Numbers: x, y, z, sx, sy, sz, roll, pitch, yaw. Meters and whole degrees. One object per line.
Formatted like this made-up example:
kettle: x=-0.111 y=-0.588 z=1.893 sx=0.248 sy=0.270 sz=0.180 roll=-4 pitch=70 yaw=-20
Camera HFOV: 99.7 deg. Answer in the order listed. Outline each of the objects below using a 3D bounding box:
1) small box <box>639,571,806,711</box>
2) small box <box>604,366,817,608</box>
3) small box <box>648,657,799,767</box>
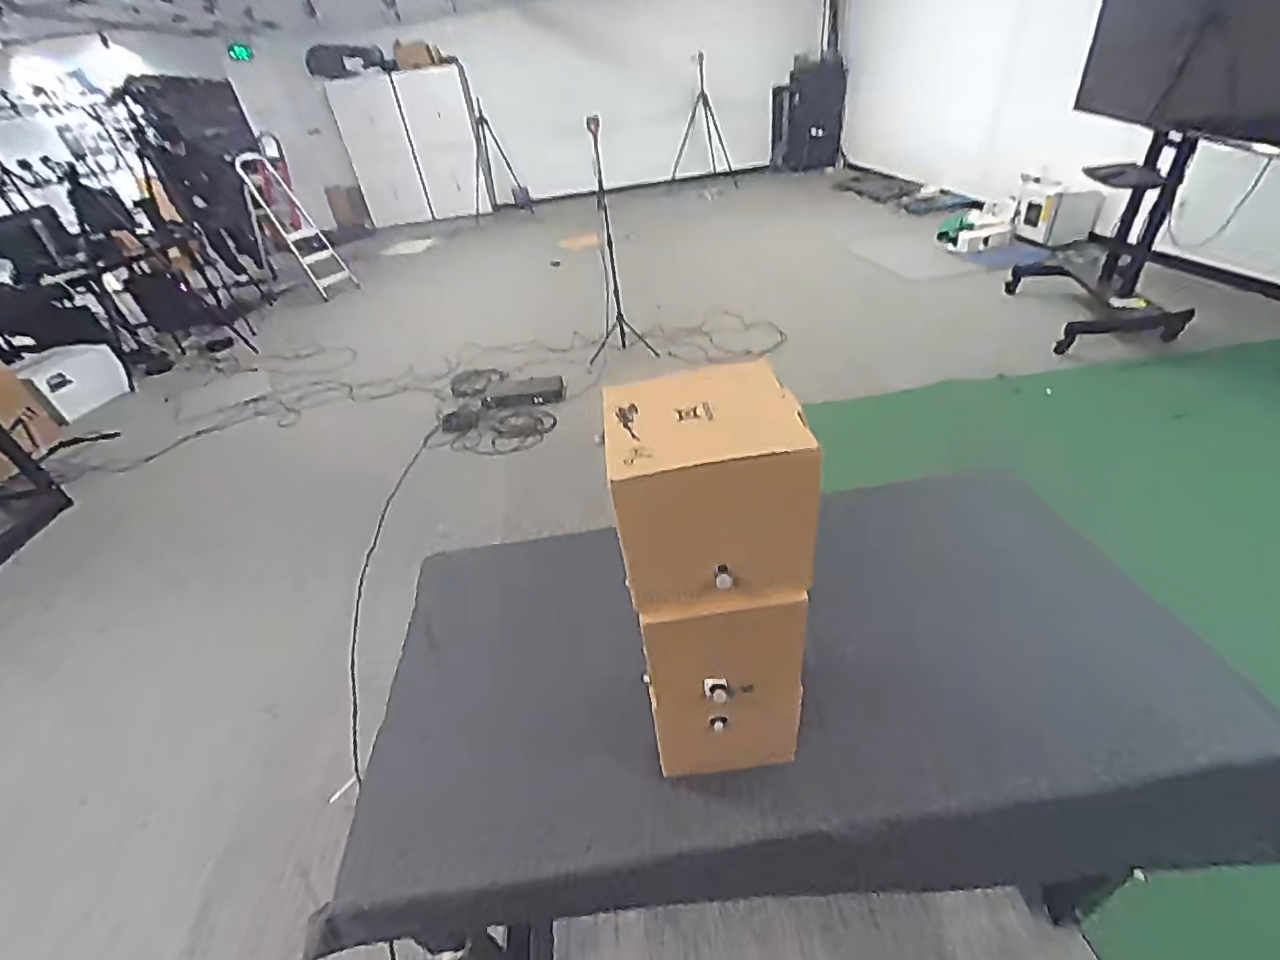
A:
small box: x=0.085 y=0.140 z=0.637 sx=0.168 sy=0.176 sz=0.179 roll=-10 pitch=37 yaw=2
small box: x=0.062 y=0.007 z=0.544 sx=0.179 sy=0.176 sz=0.168 roll=-8 pitch=36 yaw=2
small box: x=0.105 y=0.267 z=0.734 sx=0.179 sy=0.176 sz=0.168 roll=-7 pitch=37 yaw=1
